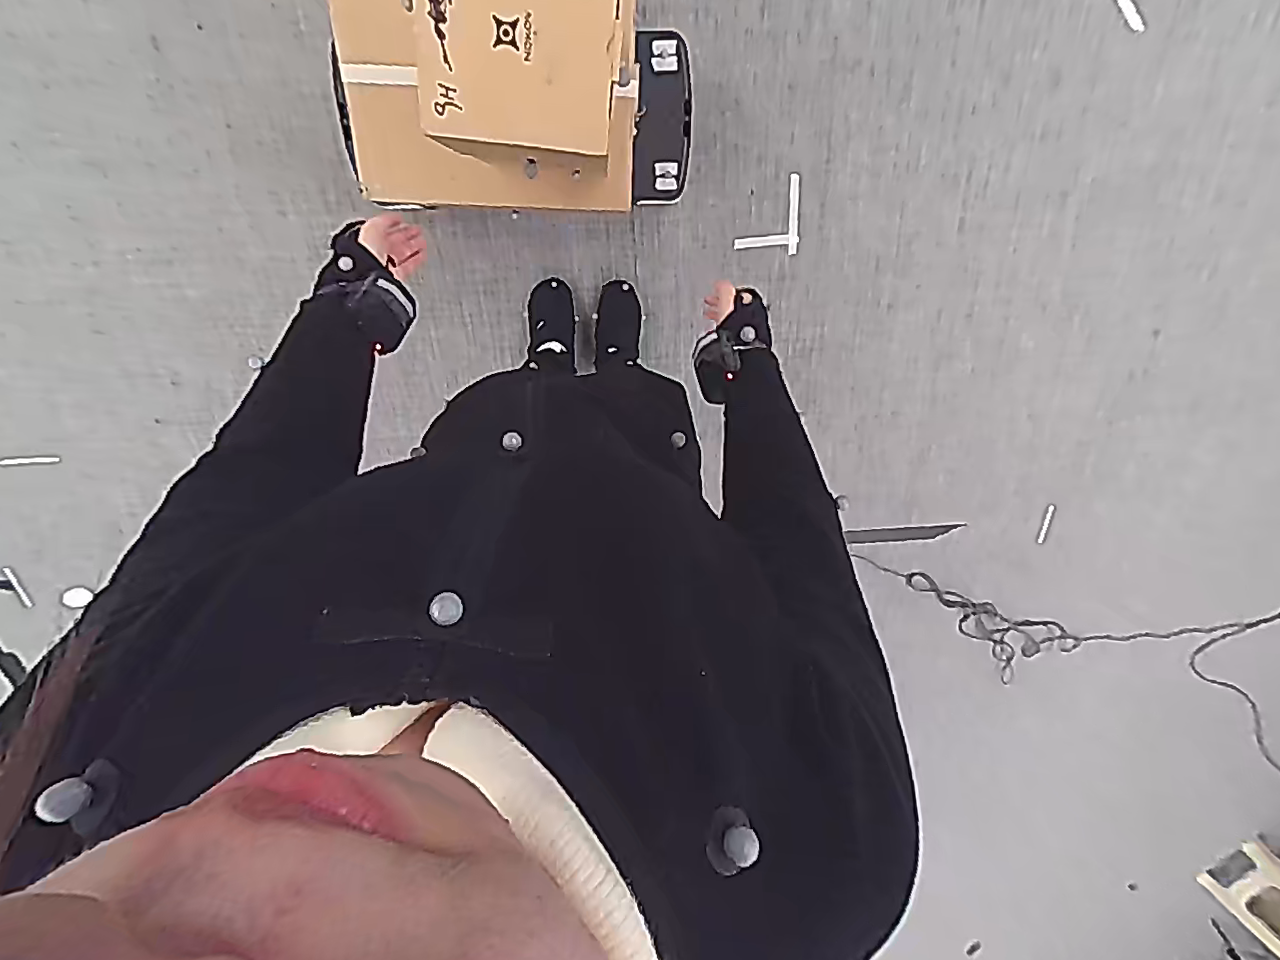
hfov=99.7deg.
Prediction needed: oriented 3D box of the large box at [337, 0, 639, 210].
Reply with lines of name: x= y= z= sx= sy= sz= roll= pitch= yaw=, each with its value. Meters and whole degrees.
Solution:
large box: x=-0.205 y=-0.617 z=0.883 sx=0.408 sy=0.320 sz=0.320 roll=1 pitch=114 yaw=-3

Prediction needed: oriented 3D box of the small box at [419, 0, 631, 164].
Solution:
small box: x=-0.104 y=-0.419 z=0.530 sx=0.179 sy=0.176 sz=0.168 roll=4 pitch=114 yaw=-6

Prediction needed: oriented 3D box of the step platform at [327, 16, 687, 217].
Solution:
step platform: x=-0.245 y=-0.715 z=1.098 sx=0.684 sy=0.204 sz=0.286 roll=2 pitch=115 yaw=-4
